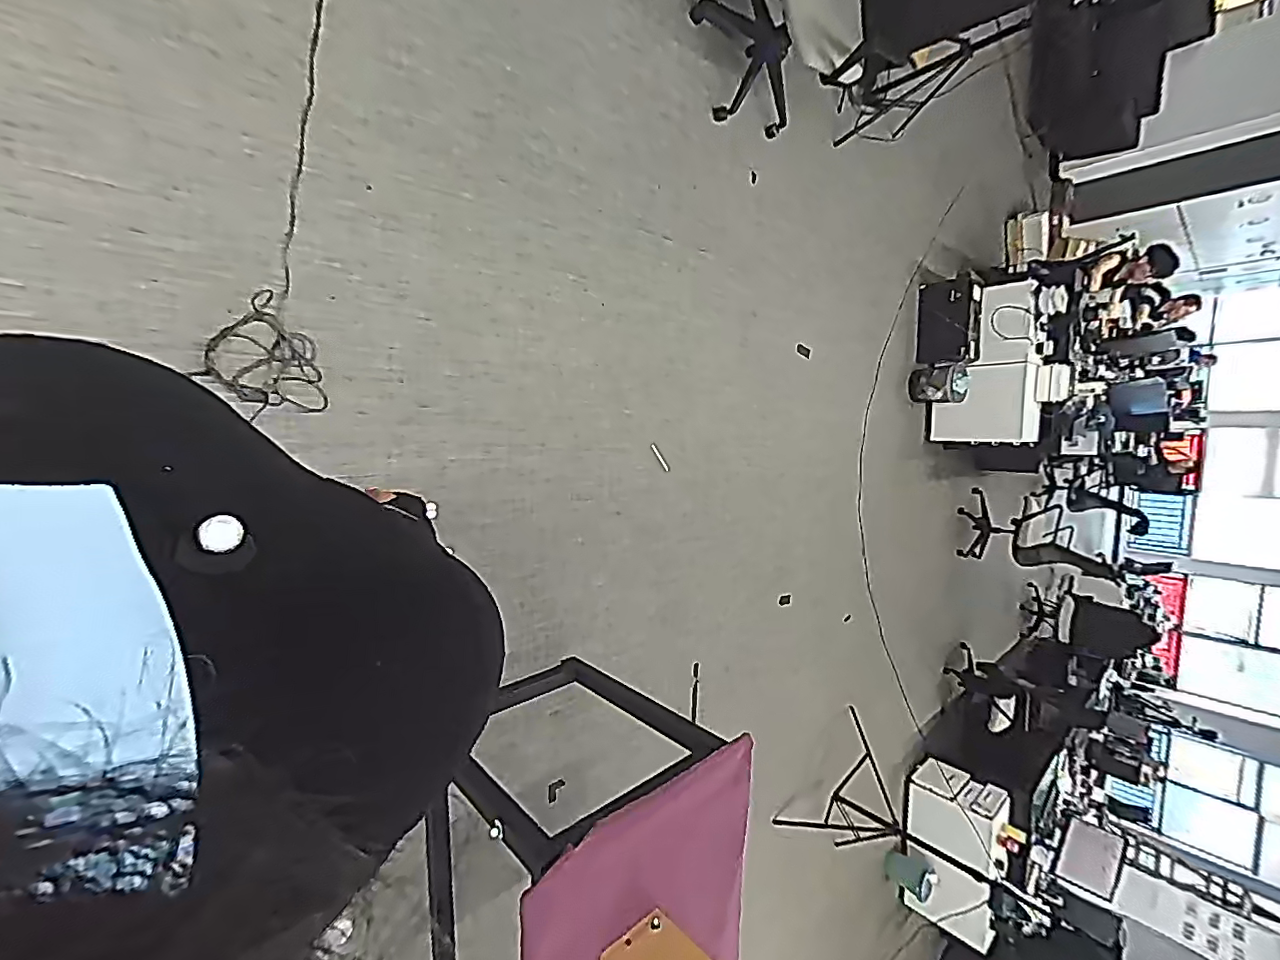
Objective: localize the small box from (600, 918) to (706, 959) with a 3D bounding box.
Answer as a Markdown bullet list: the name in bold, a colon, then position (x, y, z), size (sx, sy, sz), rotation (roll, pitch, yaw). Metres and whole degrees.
- **small box**: position (0.022, 1.068, 1.122), size (0.168, 0.176, 0.179), rotation (-4, 98, -42)
